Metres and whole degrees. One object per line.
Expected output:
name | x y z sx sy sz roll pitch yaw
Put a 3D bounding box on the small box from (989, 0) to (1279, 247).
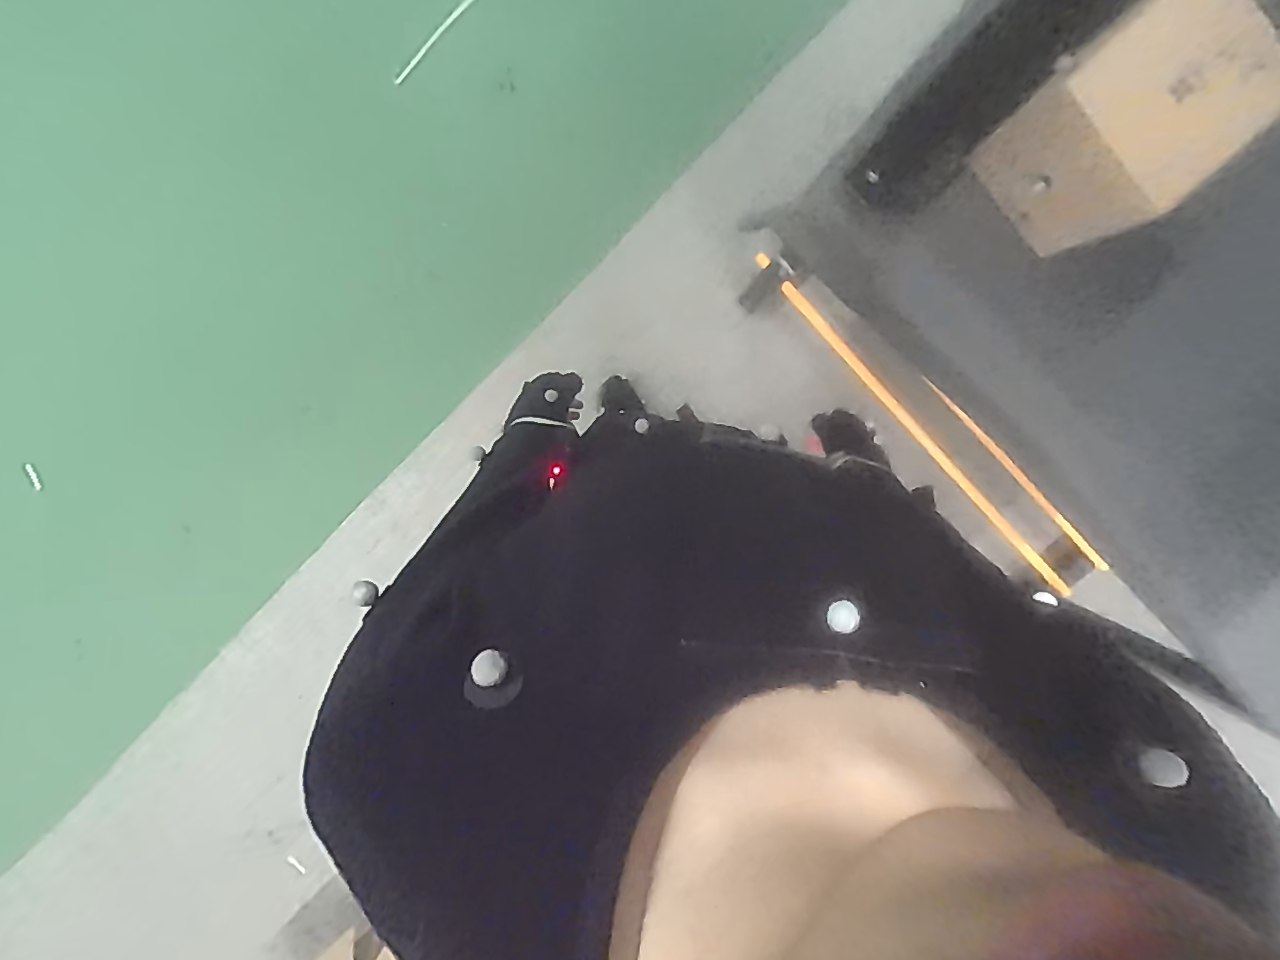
small box | 0.527 -0.389 0.588 0.179 0.176 0.168 -42 97 6
